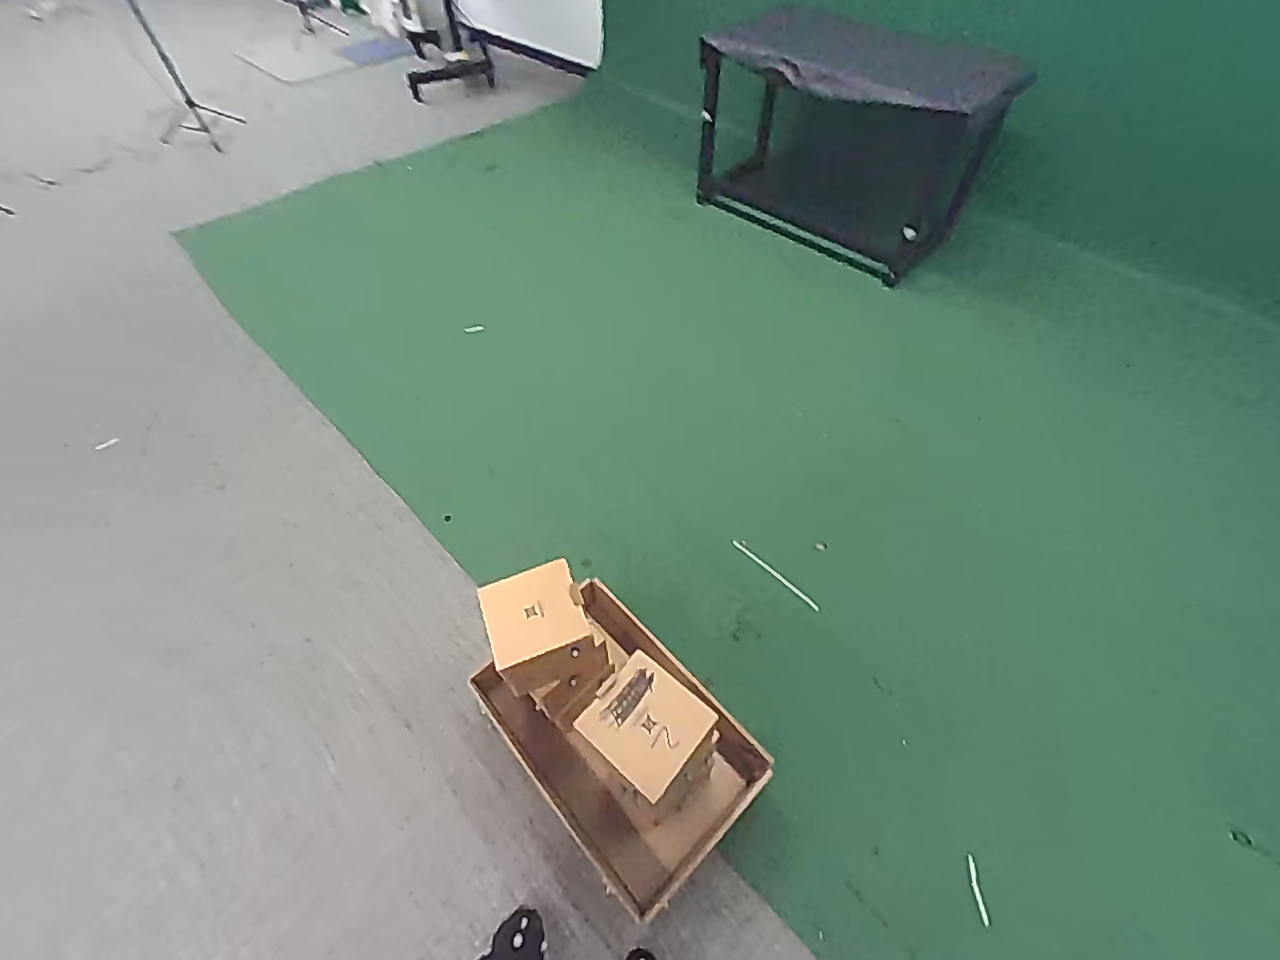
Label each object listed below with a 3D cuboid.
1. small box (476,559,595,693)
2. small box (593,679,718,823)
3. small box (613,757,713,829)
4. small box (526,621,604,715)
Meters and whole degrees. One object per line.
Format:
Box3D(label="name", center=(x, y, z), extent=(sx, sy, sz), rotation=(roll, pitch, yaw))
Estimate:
Box3D(label="small box", center=(-0.194, 0.284, 1.036), extent=(0.179, 0.176, 0.168), rotation=(-17, 56, -13))
Box3D(label="small box", center=(0.031, 0.532, 1.058), extent=(0.168, 0.176, 0.179), rotation=(34, 62, 25))
Box3D(label="small box", center=(0.036, 0.629, 1.189), extent=(0.179, 0.176, 0.168), rotation=(-33, 59, -22))
Box3D(label="small box", center=(-0.191, 0.374, 1.171), extent=(0.179, 0.176, 0.168), rotation=(-37, 62, -25))
